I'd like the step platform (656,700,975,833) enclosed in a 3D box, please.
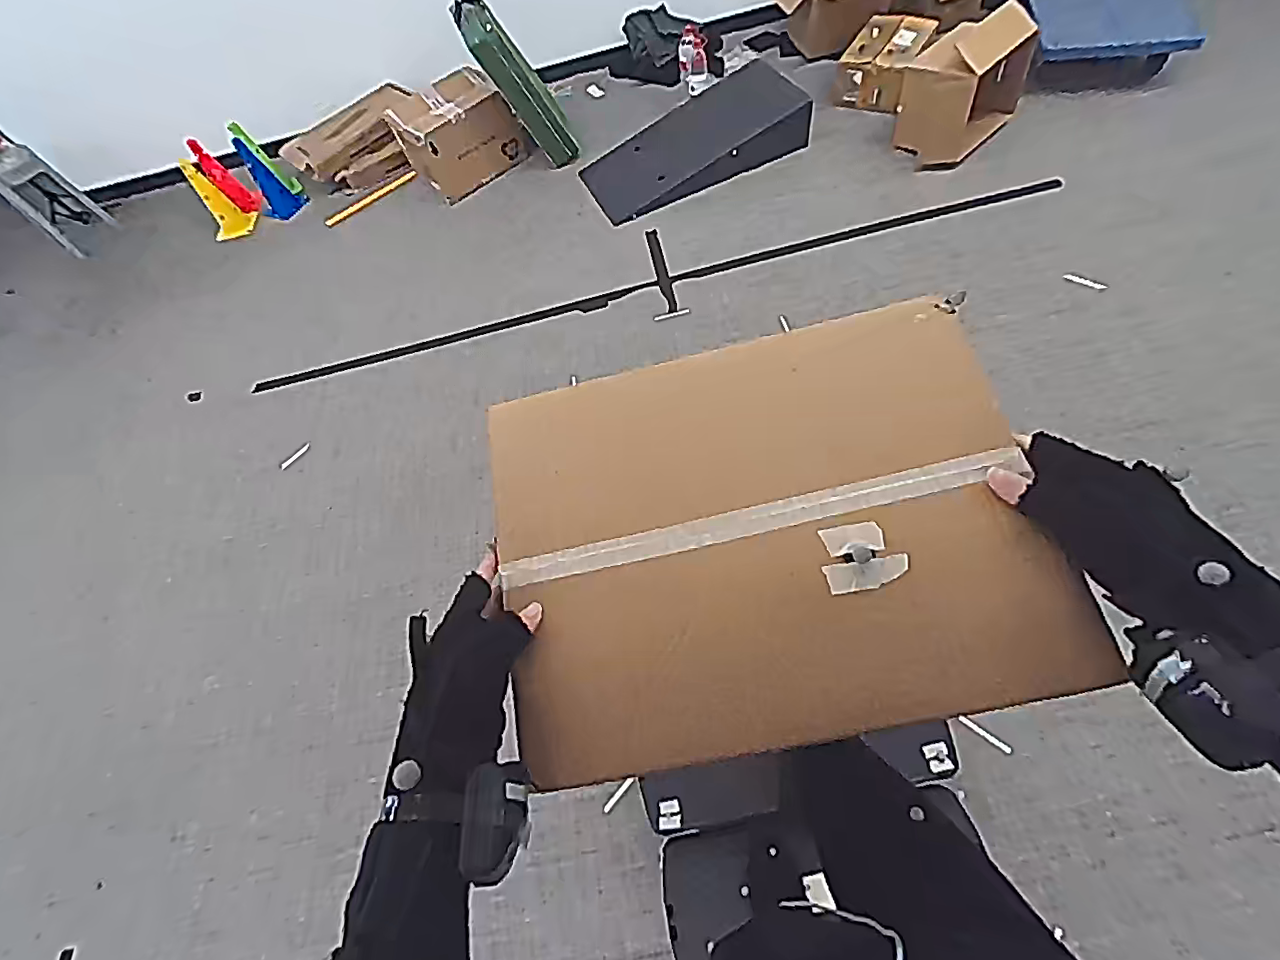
[{"bbox_3d":[0.370,0.583,1.244,0.684,0.204,0.286,-14,59,2],"label":"step platform"}]

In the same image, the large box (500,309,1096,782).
[{"bbox_3d":[0.111,0.086,0.570,0.408,0.320,0.320,-13,69,5],"label":"large box"}]
